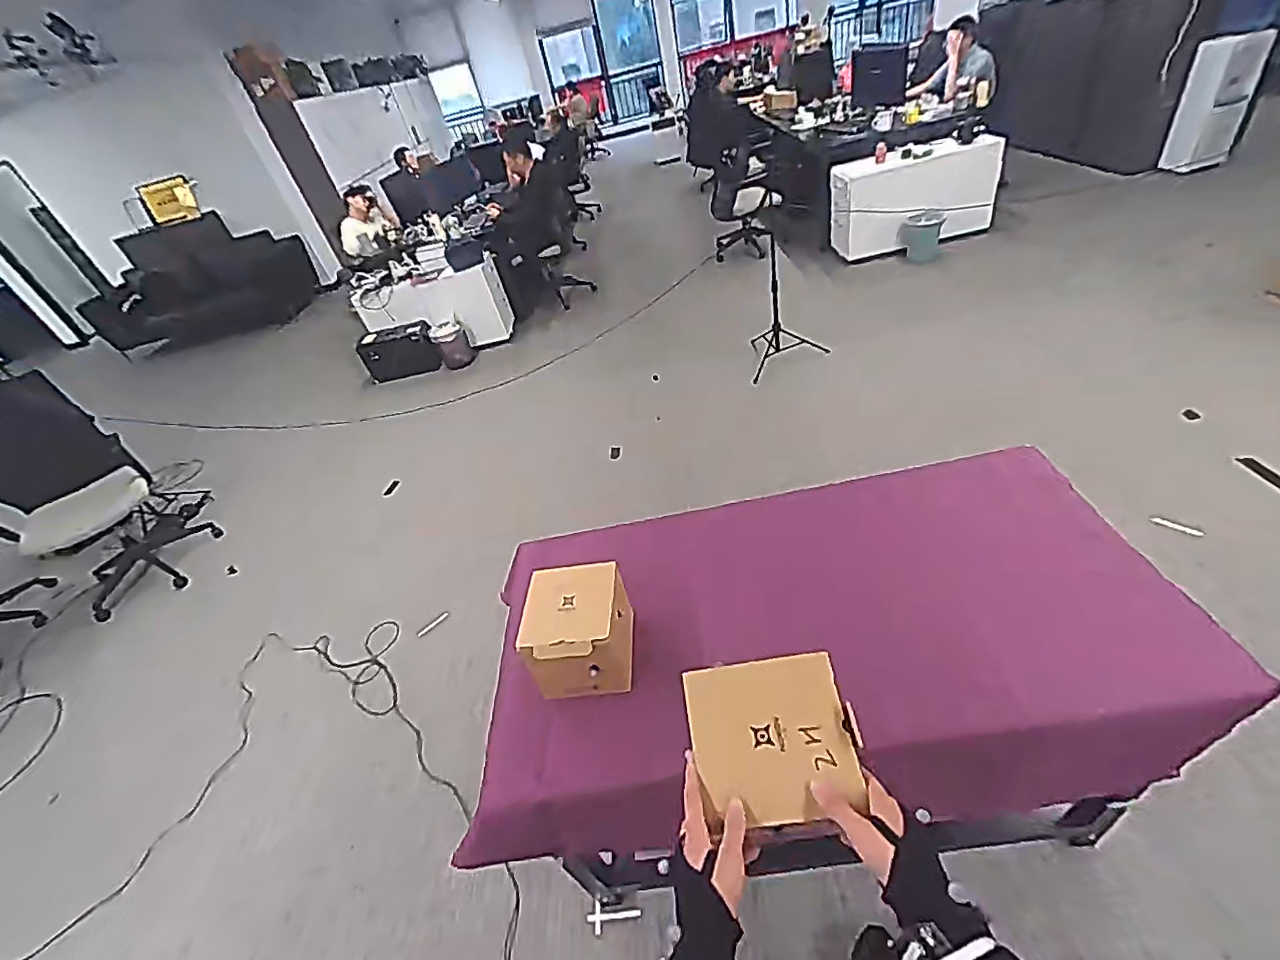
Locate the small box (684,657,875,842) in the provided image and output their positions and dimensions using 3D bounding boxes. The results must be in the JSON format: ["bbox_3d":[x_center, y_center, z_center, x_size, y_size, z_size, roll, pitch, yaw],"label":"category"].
[{"bbox_3d":[0.157,0.330,0.652,0.179,0.176,0.168,-10,55,4],"label":"small box"}]

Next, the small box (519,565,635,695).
[{"bbox_3d":[-0.108,0.286,1.015,0.168,0.176,0.179,-8,38,8],"label":"small box"}]
